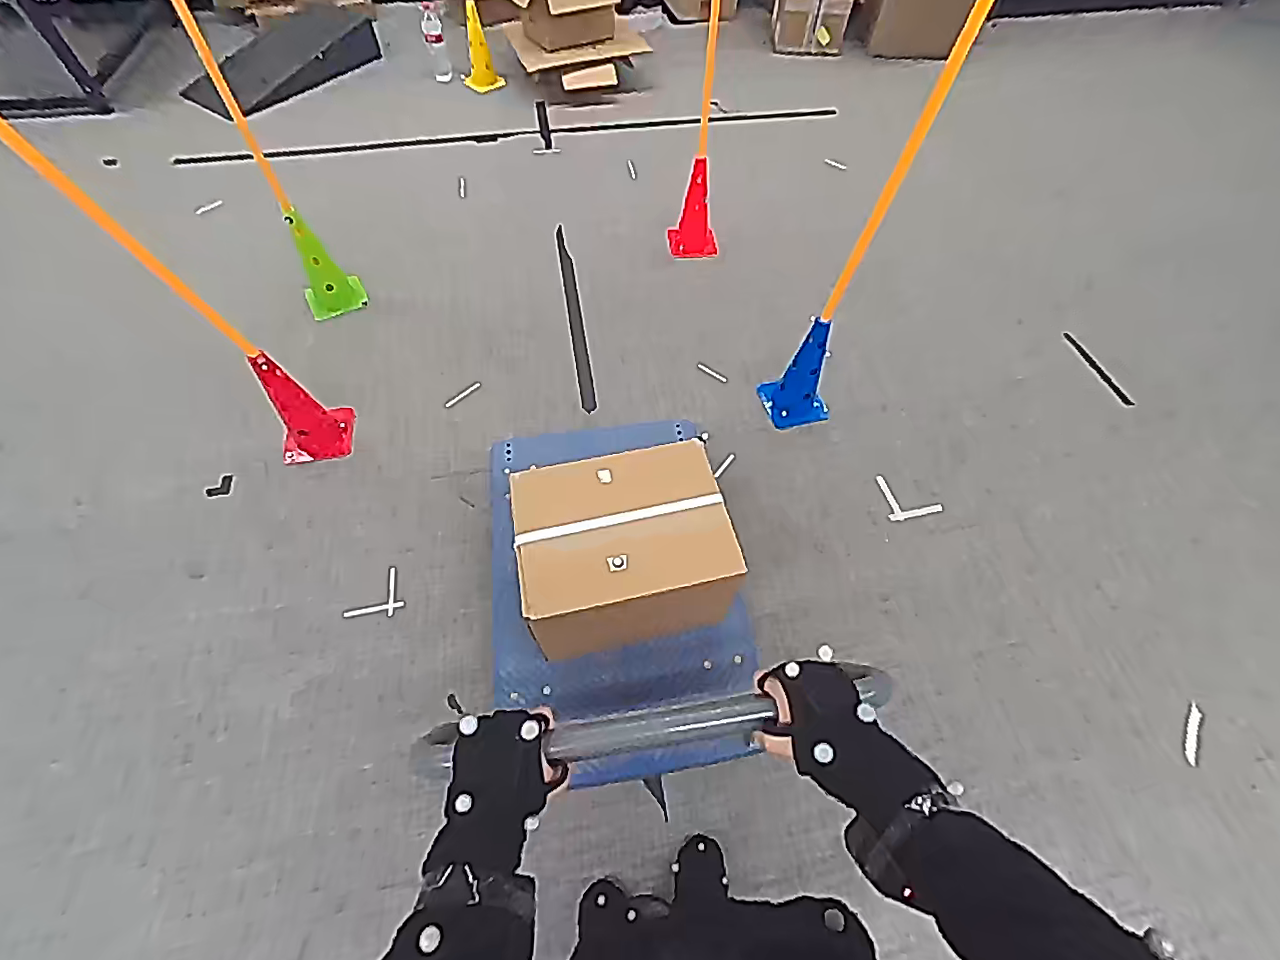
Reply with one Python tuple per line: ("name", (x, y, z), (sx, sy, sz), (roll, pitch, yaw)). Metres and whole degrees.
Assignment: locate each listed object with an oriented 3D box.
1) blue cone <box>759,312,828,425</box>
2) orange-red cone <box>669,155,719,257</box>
("blue cone", (0.523, -0.360, 1.702), (0.193, 0.380, 0.192), (-12, 58, -9))
("orange-red cone", (0.232, -1.100, 2.147), (0.199, 0.360, 0.198), (-2, 58, -4))
